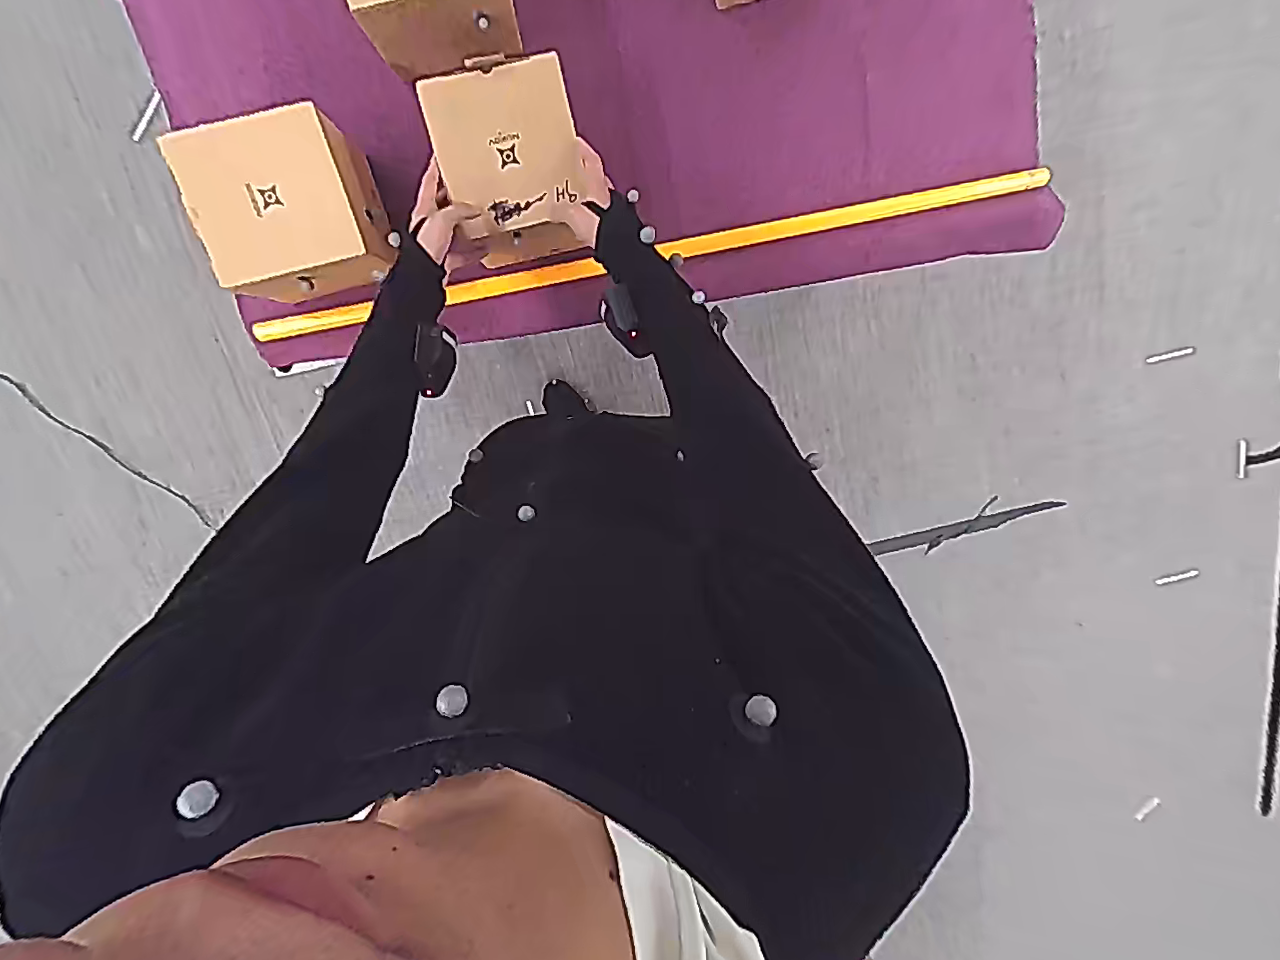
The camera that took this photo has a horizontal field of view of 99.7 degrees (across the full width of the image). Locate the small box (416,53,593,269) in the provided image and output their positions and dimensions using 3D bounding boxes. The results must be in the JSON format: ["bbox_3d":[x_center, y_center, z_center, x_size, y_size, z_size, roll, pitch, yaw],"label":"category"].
[{"bbox_3d":[-0.160,-0.393,0.697,0.168,0.176,0.179,-14,101,-1],"label":"small box"}]

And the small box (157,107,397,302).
[{"bbox_3d":[-0.433,-0.334,0.688,0.179,0.176,0.168,-15,104,-2],"label":"small box"}]
